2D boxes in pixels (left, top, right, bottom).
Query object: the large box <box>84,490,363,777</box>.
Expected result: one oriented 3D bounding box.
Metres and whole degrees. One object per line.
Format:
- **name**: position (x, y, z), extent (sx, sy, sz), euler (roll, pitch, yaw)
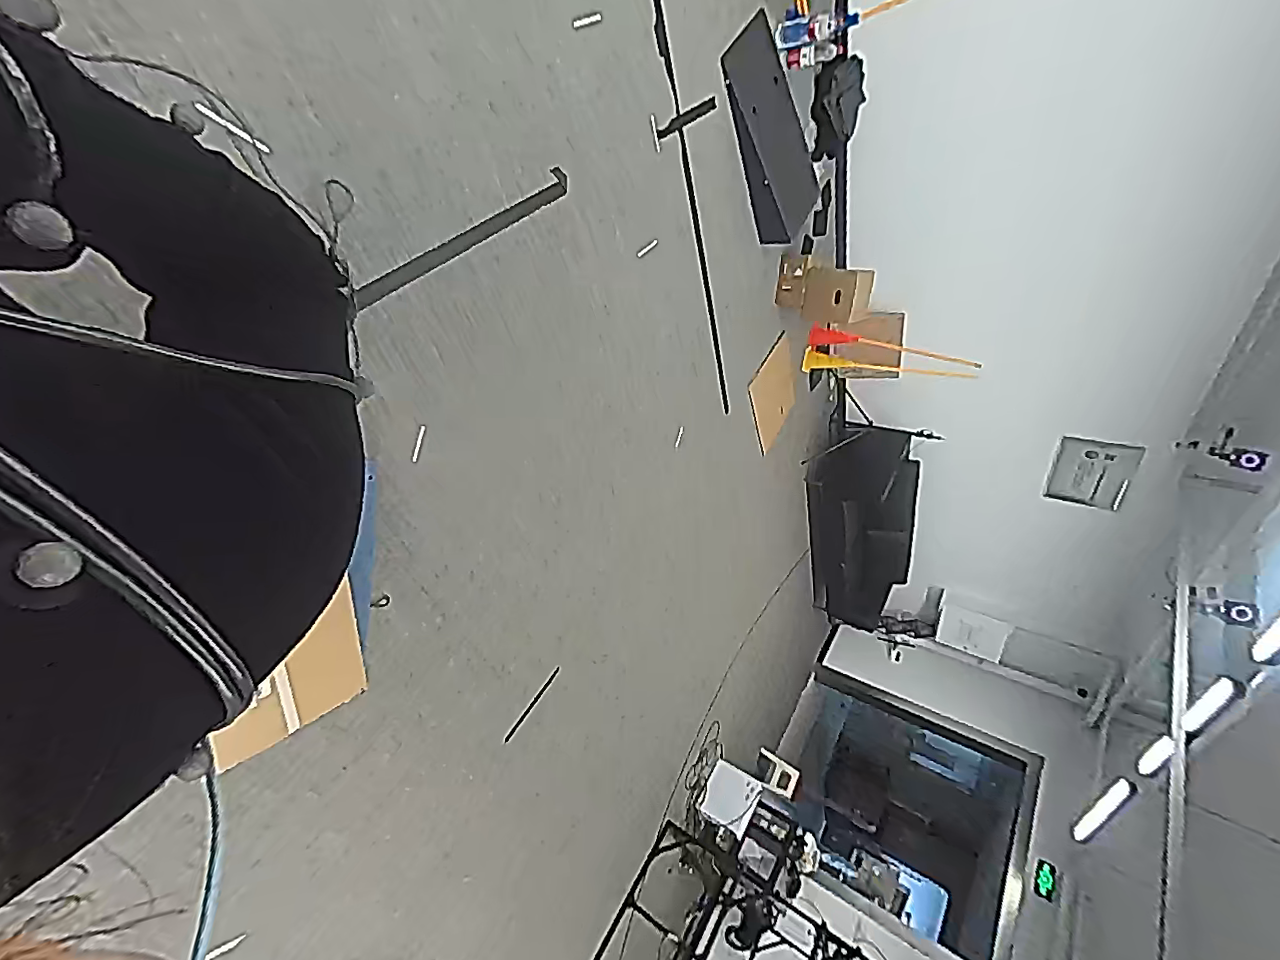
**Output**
- **large box**: position (-0.820, 0.278, 1.096), extent (0.320, 0.320, 0.408), euler (-24, 123, -49)
